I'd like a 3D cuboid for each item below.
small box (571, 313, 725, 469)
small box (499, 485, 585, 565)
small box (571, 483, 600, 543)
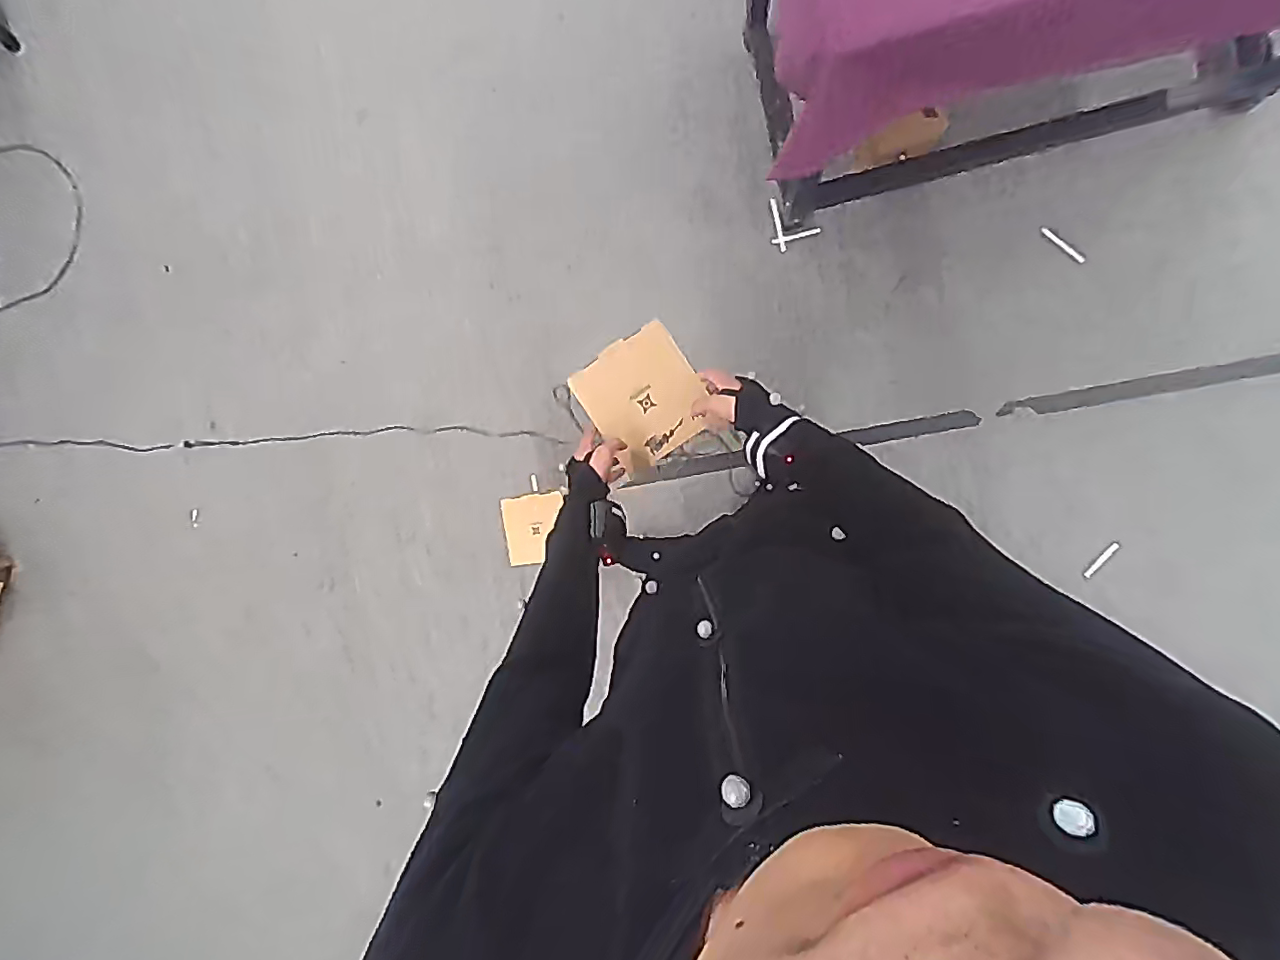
[{"bbox_3d":[0.014,-0.132,0.865,0.168,0.176,0.179,-33,91,5],"label":"small box"},{"bbox_3d":[-0.254,0.115,1.444,0.168,0.176,0.179,-9,92,9],"label":"small box"},{"bbox_3d":[-0.232,0.106,1.605,0.179,0.176,0.168,-10,92,8],"label":"small box"}]
